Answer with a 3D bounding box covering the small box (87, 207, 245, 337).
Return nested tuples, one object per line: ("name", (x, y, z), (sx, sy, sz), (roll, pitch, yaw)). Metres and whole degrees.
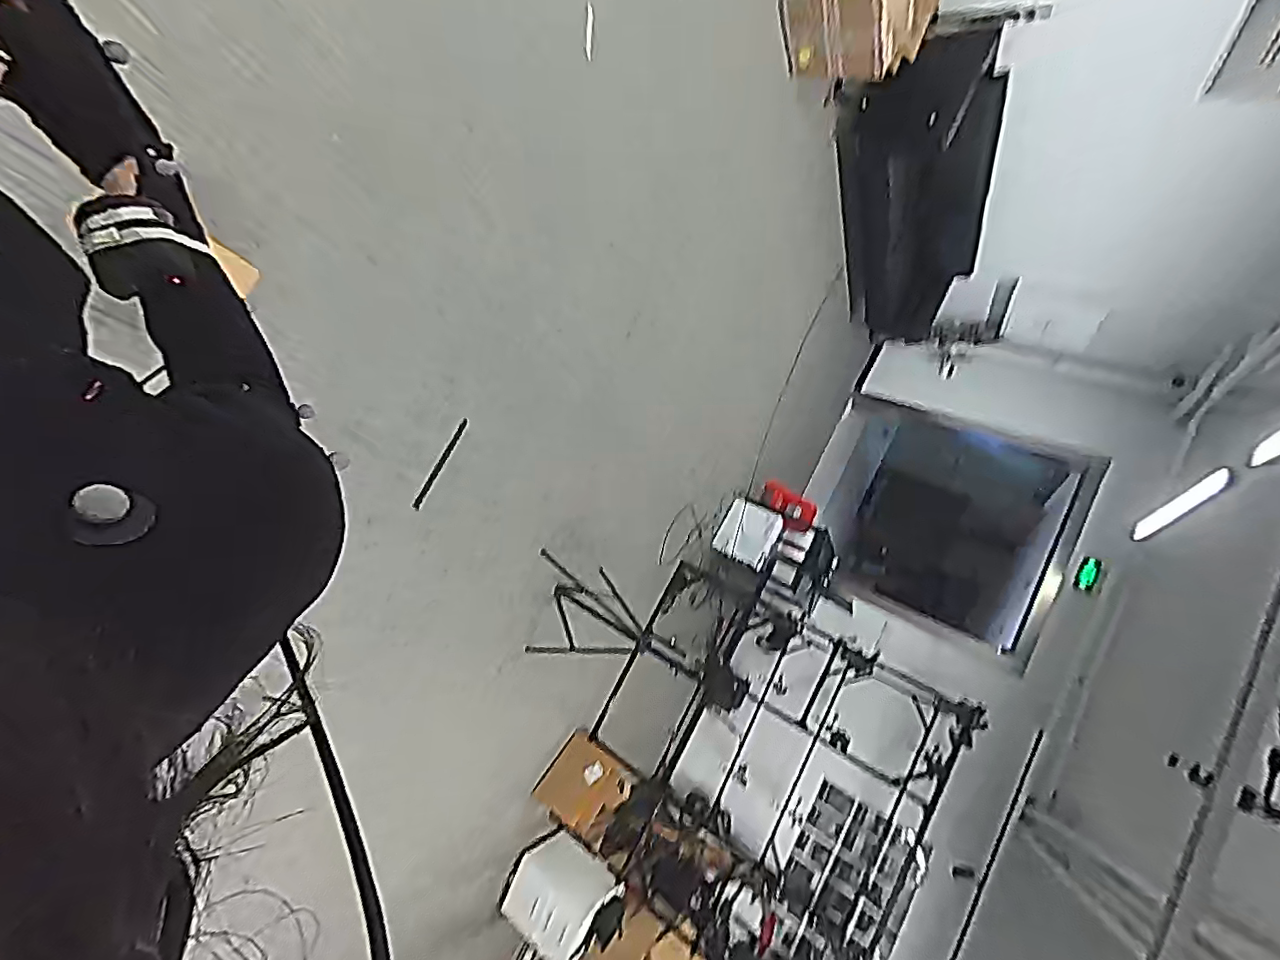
("small box", (-0.970, -0.425, 1.104), (0.179, 0.176, 0.168), (-63, 152, -7))
